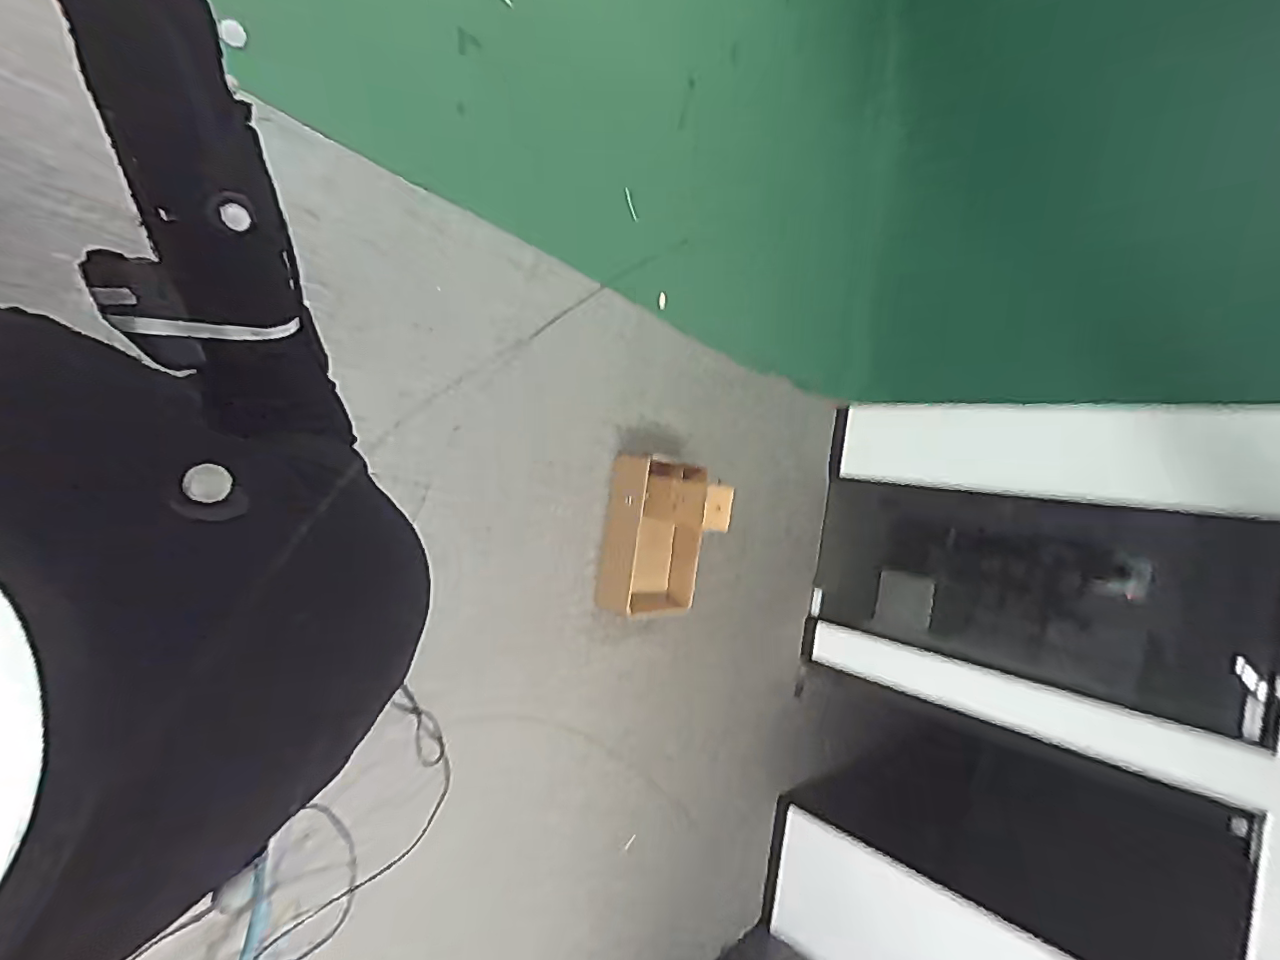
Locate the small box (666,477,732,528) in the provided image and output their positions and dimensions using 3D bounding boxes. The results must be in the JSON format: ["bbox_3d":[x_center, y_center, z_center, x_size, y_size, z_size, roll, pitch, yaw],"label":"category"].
[{"bbox_3d":[0.227,0.086,2.072,0.179,0.176,0.168,8,91,-49],"label":"small box"}]

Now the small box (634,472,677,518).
[{"bbox_3d":[0.105,0.065,2.178,0.179,0.176,0.168,10,89,-49],"label":"small box"}]
